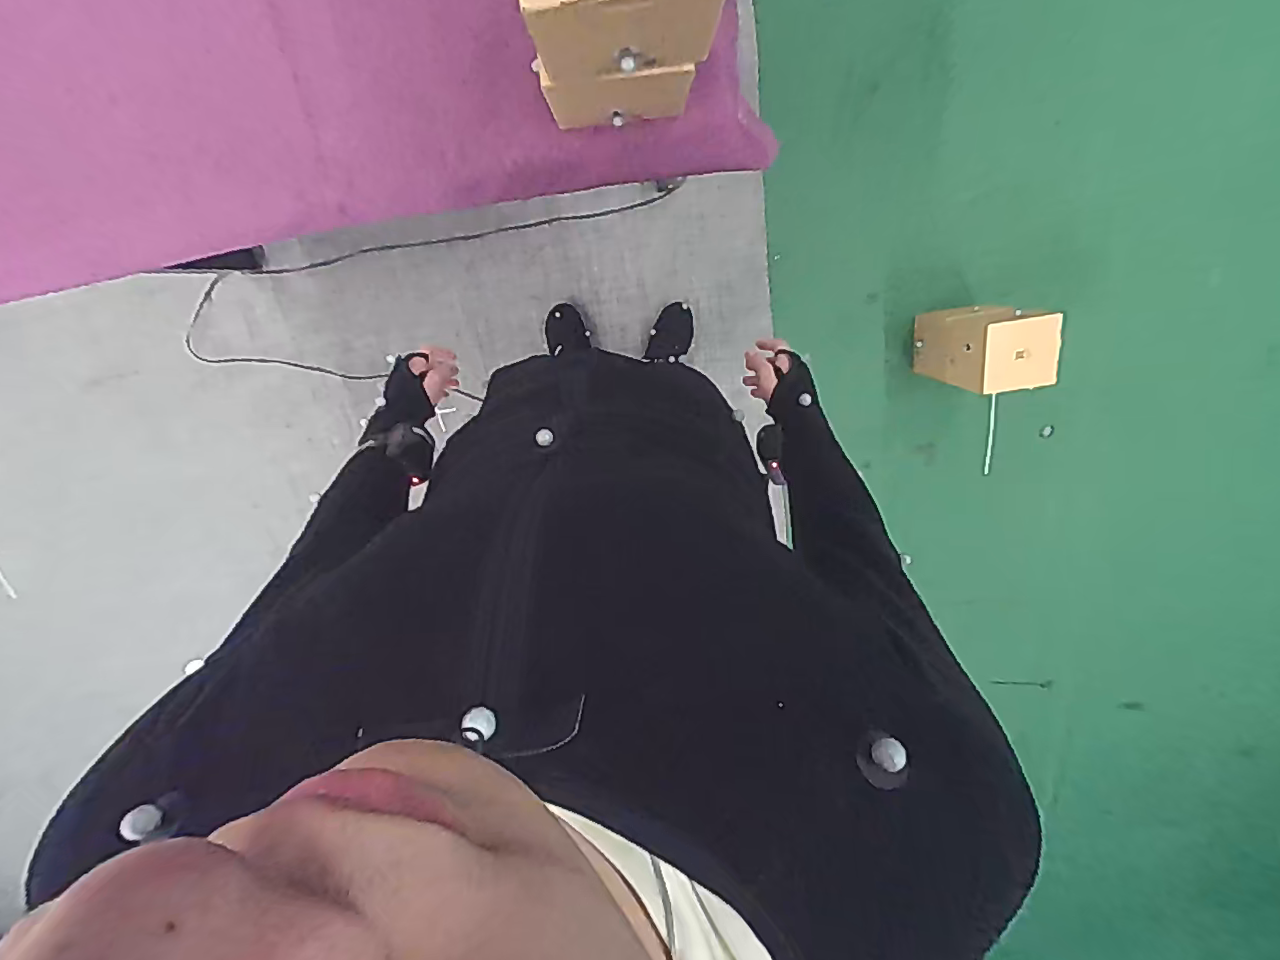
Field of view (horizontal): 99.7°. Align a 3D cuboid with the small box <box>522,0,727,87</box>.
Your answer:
[{"bbox_3d":[-0.021,-0.476,0.461,0.168,0.176,0.179,-7,110,3],"label":"small box"}]

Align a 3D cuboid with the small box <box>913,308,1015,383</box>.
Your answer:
[{"bbox_3d":[0.880,-0.372,1.480,0.179,0.176,0.168,-8,110,3],"label":"small box"}]

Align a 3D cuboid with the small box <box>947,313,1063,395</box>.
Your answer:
[{"bbox_3d":[0.886,-0.314,1.330,0.179,0.176,0.168,-9,110,1],"label":"small box"}]
